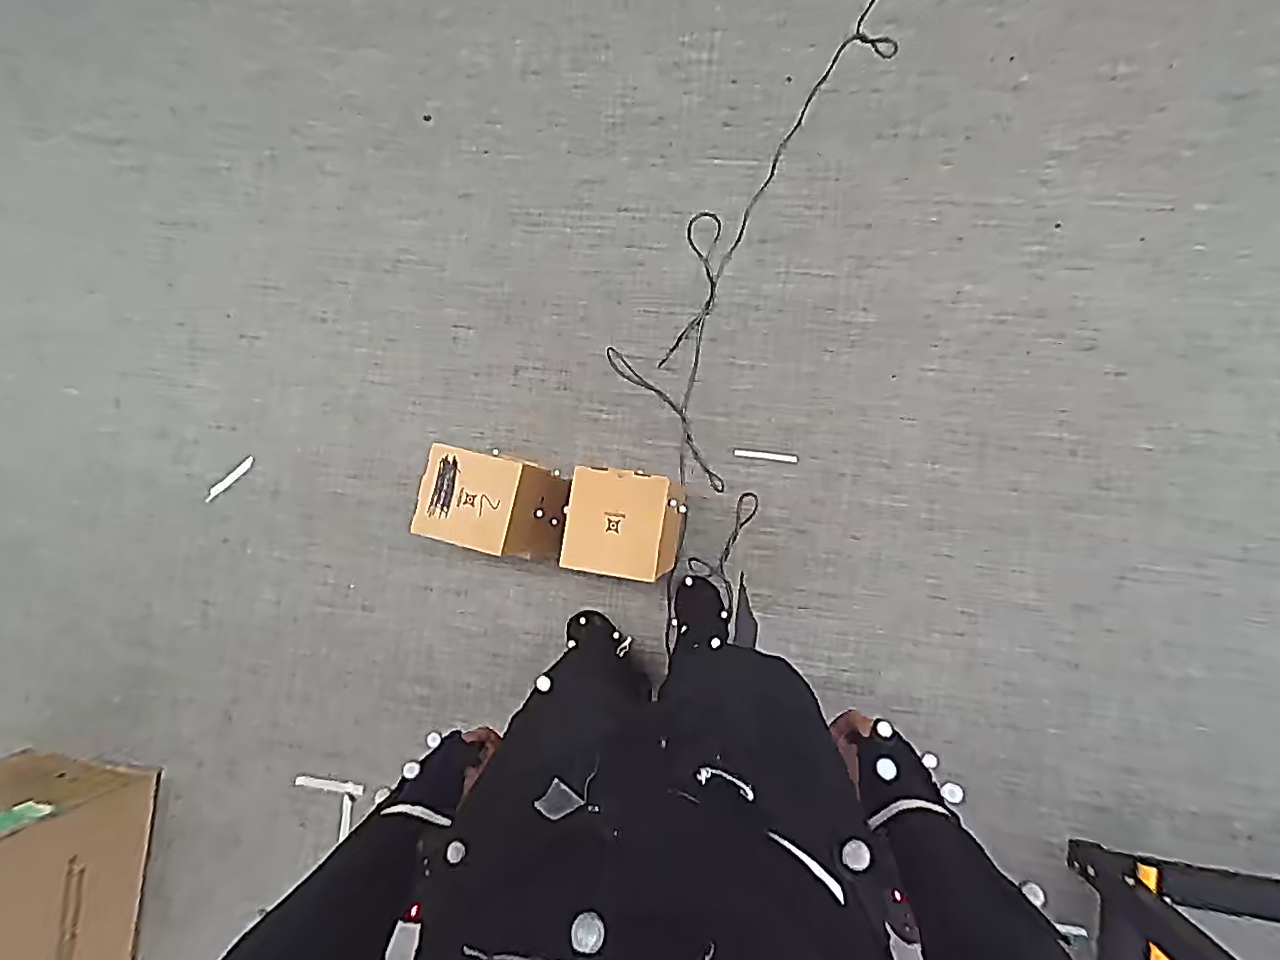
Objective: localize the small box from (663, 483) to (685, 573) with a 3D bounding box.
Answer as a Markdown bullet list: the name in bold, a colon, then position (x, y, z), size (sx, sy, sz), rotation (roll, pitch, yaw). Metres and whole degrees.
- **small box**: position (0.000, 0.089, 1.135), size (0.168, 0.176, 0.179), rotation (8, 87, 10)

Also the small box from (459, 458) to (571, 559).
- **small box**: position (-0.261, 0.062, 1.173), size (0.168, 0.176, 0.179), rotation (14, 89, 9)

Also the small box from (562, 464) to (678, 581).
- **small box**: position (-0.026, 0.075, 0.976), size (0.168, 0.176, 0.179), rotation (8, 86, 9)
